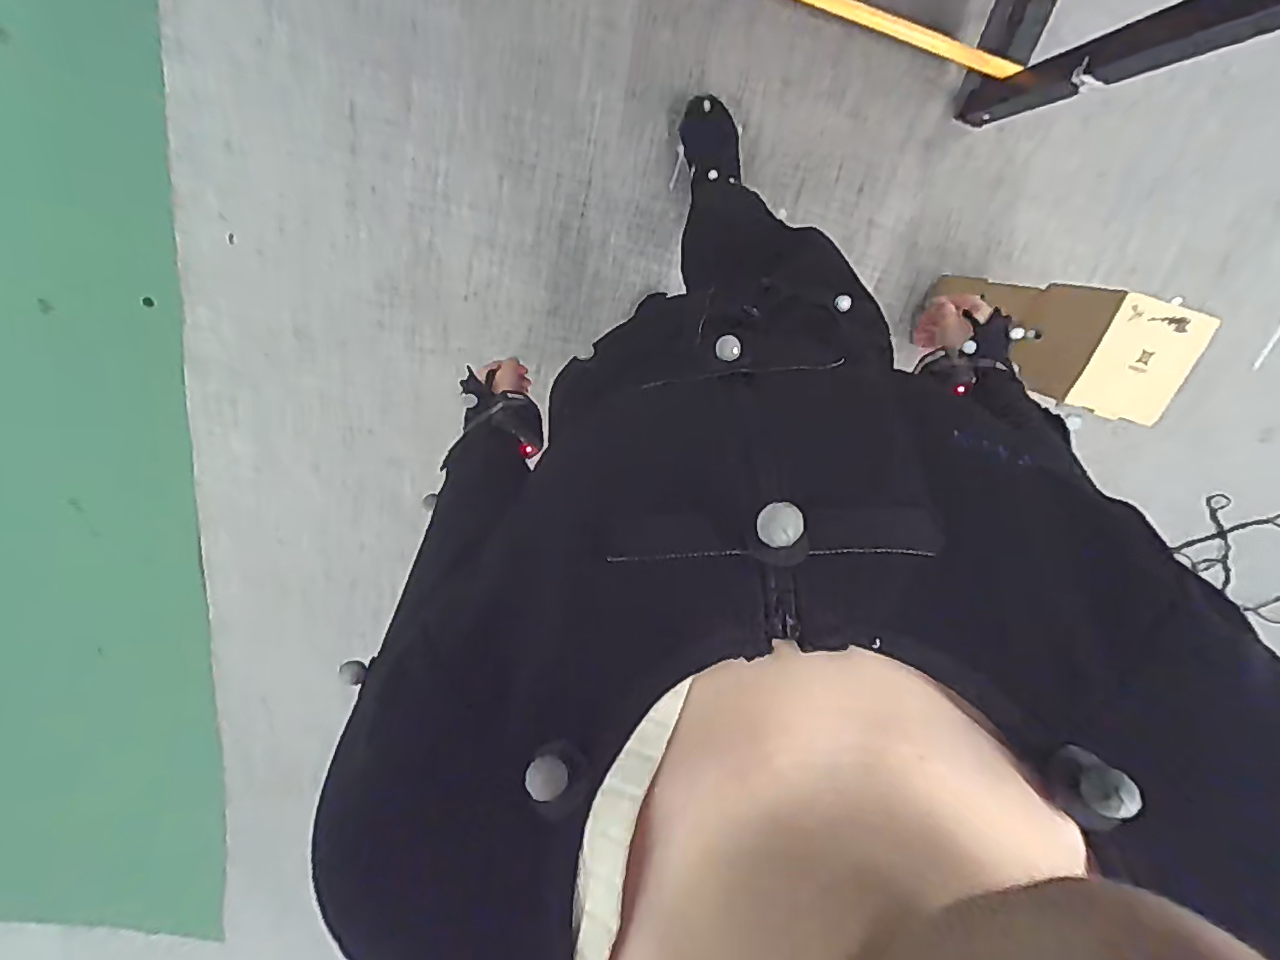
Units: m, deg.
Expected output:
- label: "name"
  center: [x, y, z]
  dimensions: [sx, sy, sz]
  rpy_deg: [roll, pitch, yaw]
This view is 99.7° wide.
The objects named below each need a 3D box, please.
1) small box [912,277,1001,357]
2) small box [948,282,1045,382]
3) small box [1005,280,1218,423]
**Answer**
- label: "small box"
  center: [0.751, -0.345, 1.199]
  dimensions: [0.179, 0.176, 0.168]
  rpy_deg: [14, 111, -8]
- label: "small box"
  center: [0.745, -0.279, 1.048]
  dimensions: [0.179, 0.176, 0.168]
  rpy_deg: [11, 113, -8]
- label: "small box"
  center: [0.757, -0.218, 0.897]
  dimensions: [0.168, 0.176, 0.179]
  rpy_deg: [13, 113, -8]
